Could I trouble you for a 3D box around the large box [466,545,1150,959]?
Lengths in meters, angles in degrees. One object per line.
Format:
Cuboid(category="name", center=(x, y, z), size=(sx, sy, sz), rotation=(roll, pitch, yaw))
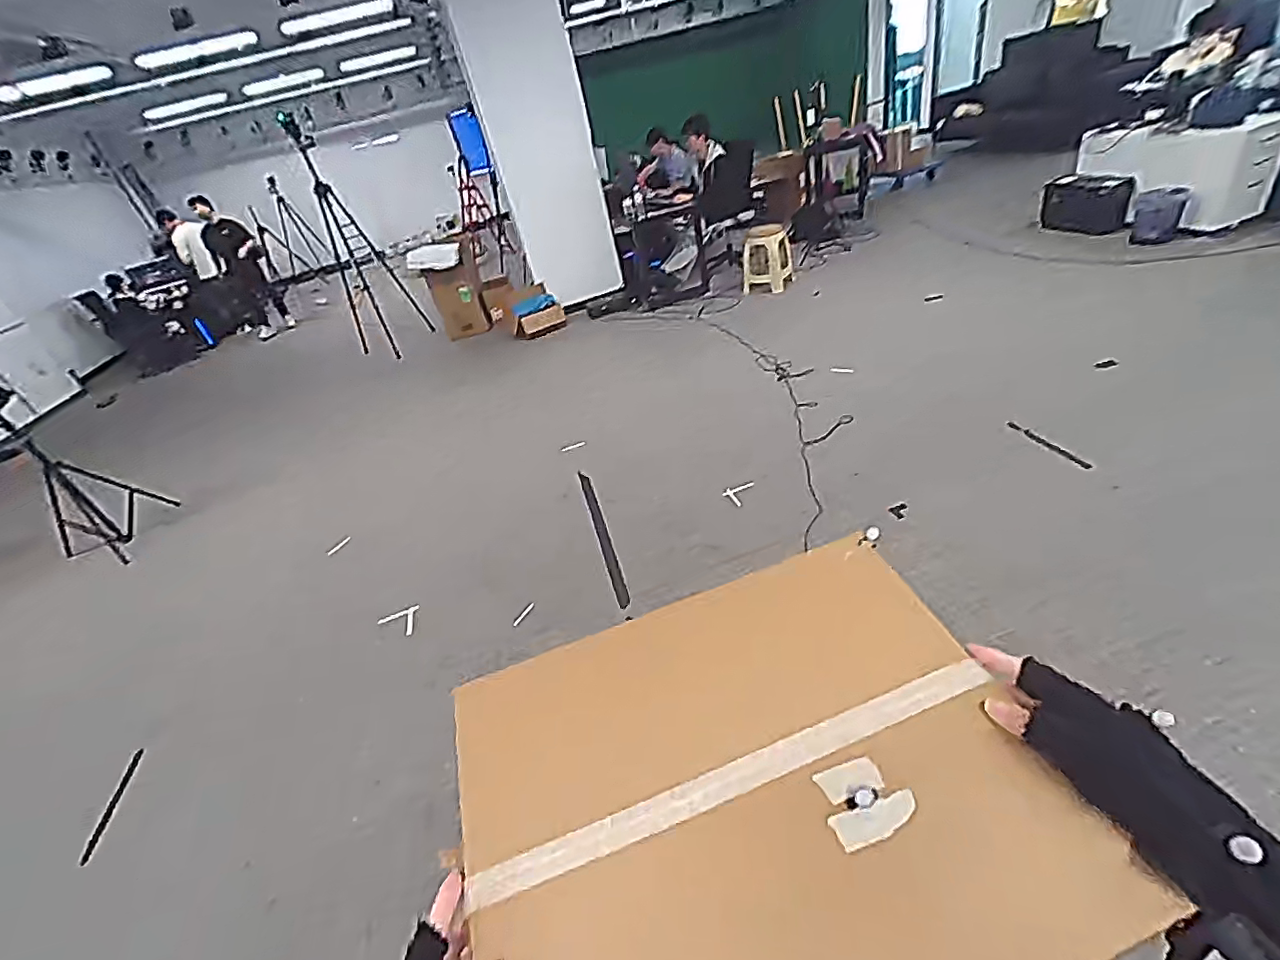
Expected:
Cuboid(category="large box", center=(0.098, 0.330, 0.502), size=(0.408, 0.320, 0.320), rotation=(-19, 43, -8))
